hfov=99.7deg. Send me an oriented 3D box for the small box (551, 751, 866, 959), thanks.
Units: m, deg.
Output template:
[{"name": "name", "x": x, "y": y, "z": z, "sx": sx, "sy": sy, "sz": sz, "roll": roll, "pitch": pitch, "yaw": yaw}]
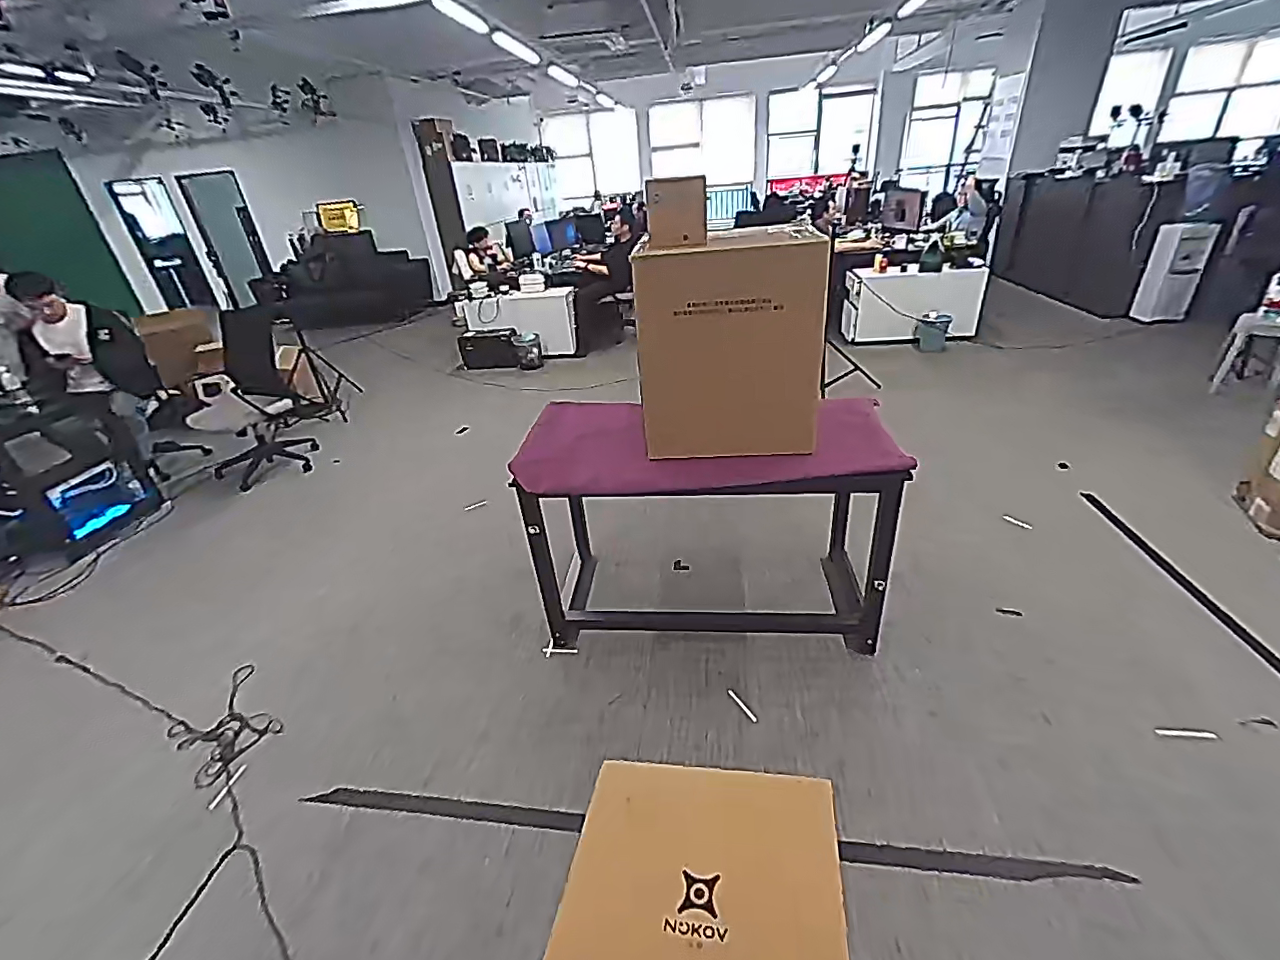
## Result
[{"name": "small box", "x": 0.051, "y": 0.310, "z": 0.343, "sx": 0.168, "sy": 0.176, "sz": 0.179, "roll": -3, "pitch": 25, "yaw": 14}]
